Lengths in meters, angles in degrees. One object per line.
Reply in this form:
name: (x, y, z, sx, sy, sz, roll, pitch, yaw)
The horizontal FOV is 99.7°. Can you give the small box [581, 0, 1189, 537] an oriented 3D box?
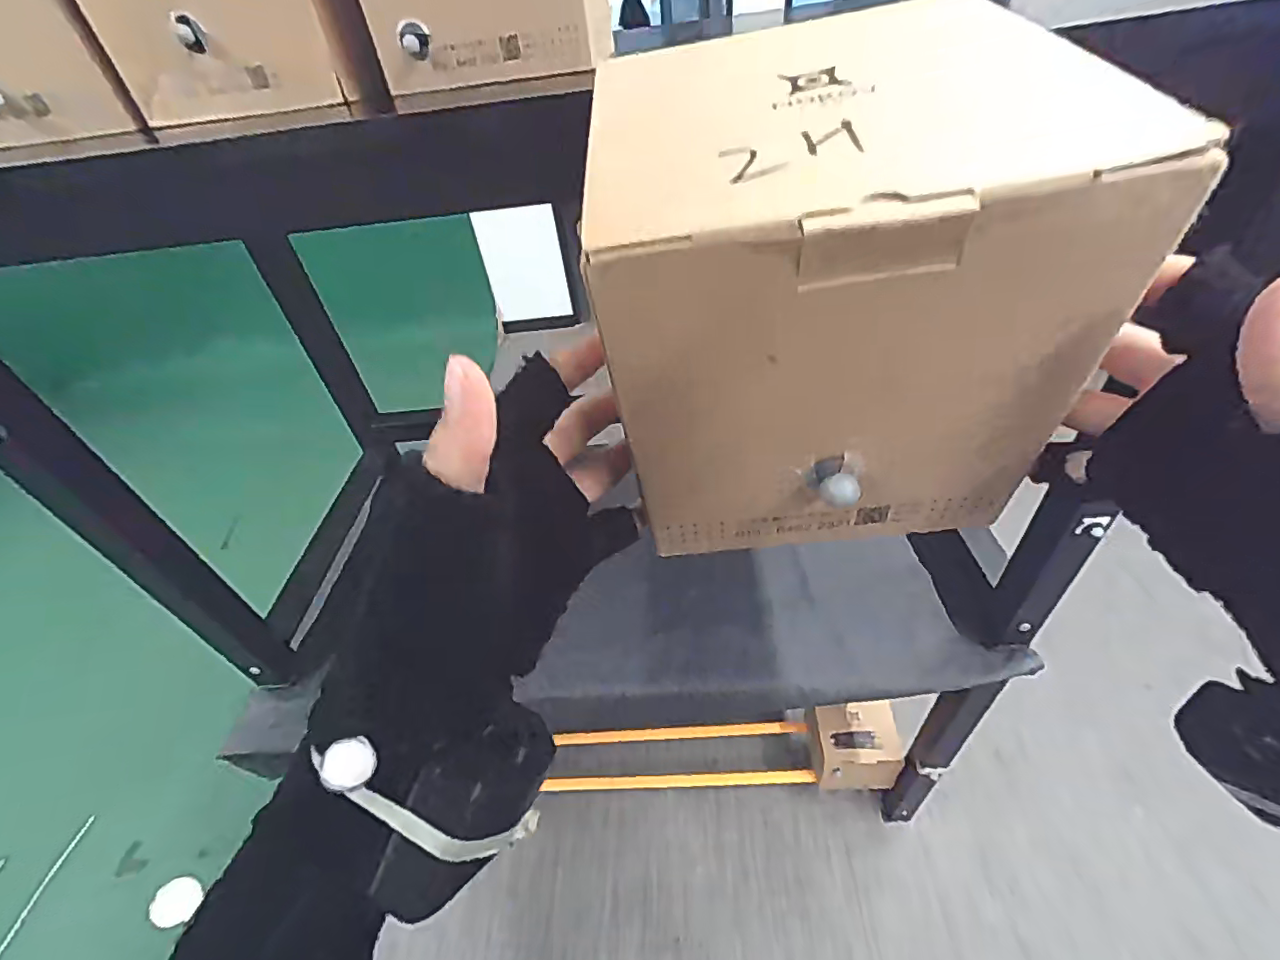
small box: (0.074, -0.094, 0.263, 0.168, 0.176, 0.179, -7, 51, 7)
